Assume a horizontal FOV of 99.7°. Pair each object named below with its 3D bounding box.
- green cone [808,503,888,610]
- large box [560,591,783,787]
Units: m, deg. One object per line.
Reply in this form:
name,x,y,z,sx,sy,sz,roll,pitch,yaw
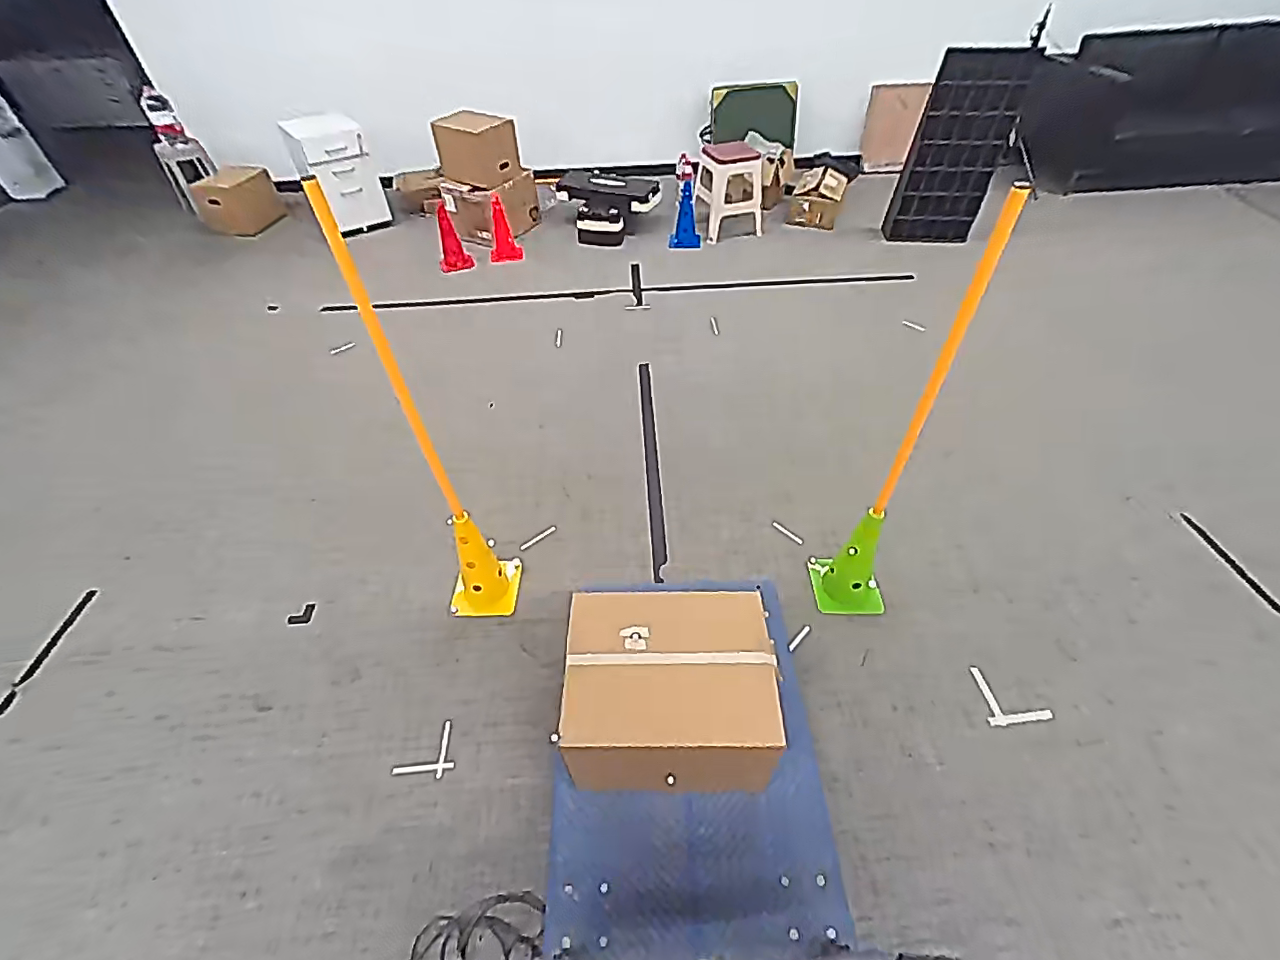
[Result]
green cone,0.645,0.204,1.586,0.202,0.368,0.200,0,46,0
large box,0.061,0.456,1.165,0.408,0.320,0.320,-1,47,2
